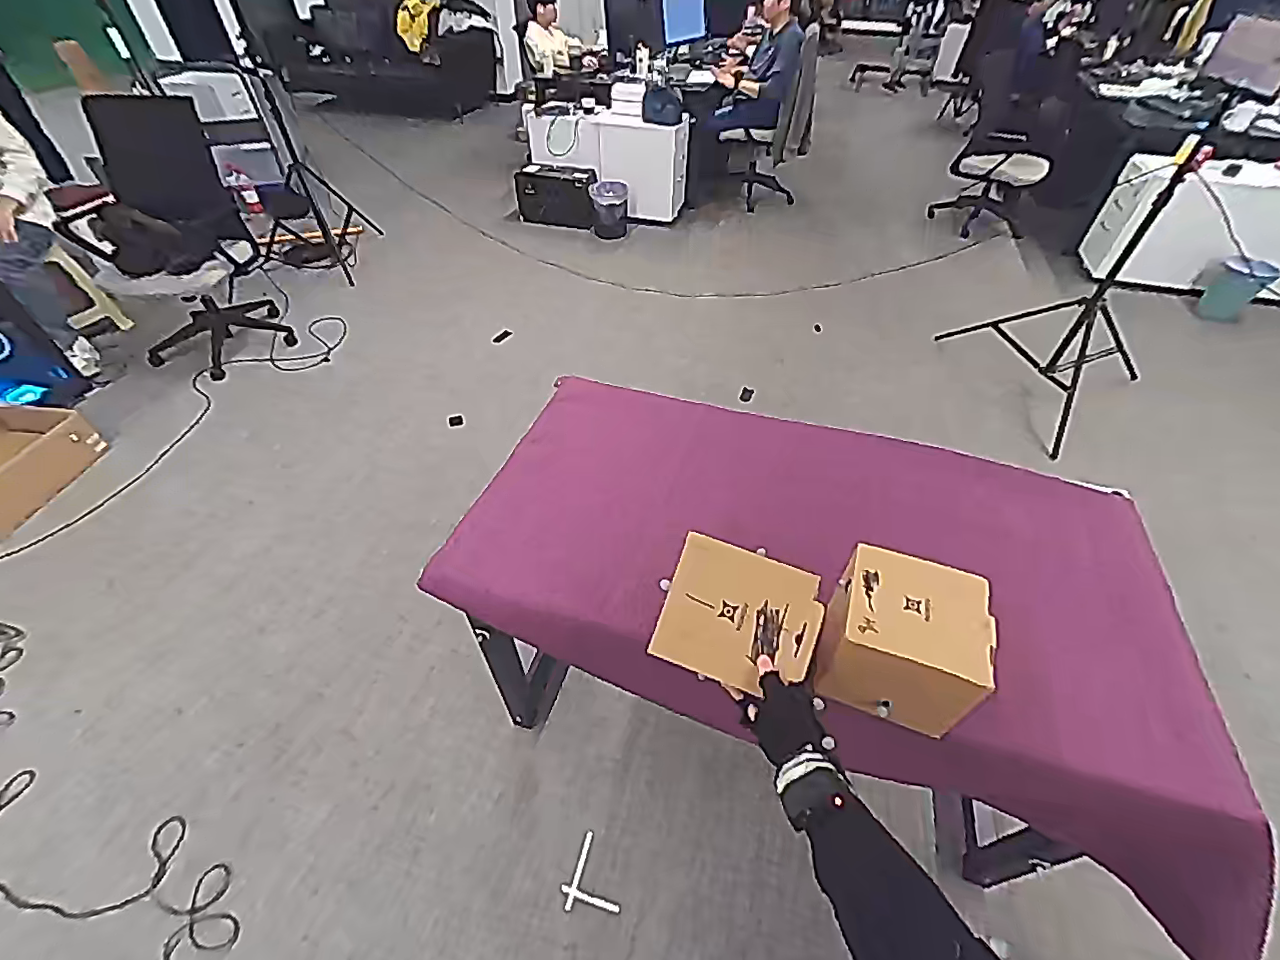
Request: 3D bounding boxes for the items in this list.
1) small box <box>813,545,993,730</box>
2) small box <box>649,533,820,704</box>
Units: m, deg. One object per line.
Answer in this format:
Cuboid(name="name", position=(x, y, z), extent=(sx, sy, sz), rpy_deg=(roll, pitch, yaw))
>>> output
Cuboid(name="small box", position=(0.364, 0.227, 0.767), extent=(0.179, 0.176, 0.168), rpy_deg=(17, 47, 14))
Cuboid(name="small box", position=(0.125, 0.186, 0.756), extent=(0.179, 0.176, 0.168), rpy_deg=(19, 79, 8))
